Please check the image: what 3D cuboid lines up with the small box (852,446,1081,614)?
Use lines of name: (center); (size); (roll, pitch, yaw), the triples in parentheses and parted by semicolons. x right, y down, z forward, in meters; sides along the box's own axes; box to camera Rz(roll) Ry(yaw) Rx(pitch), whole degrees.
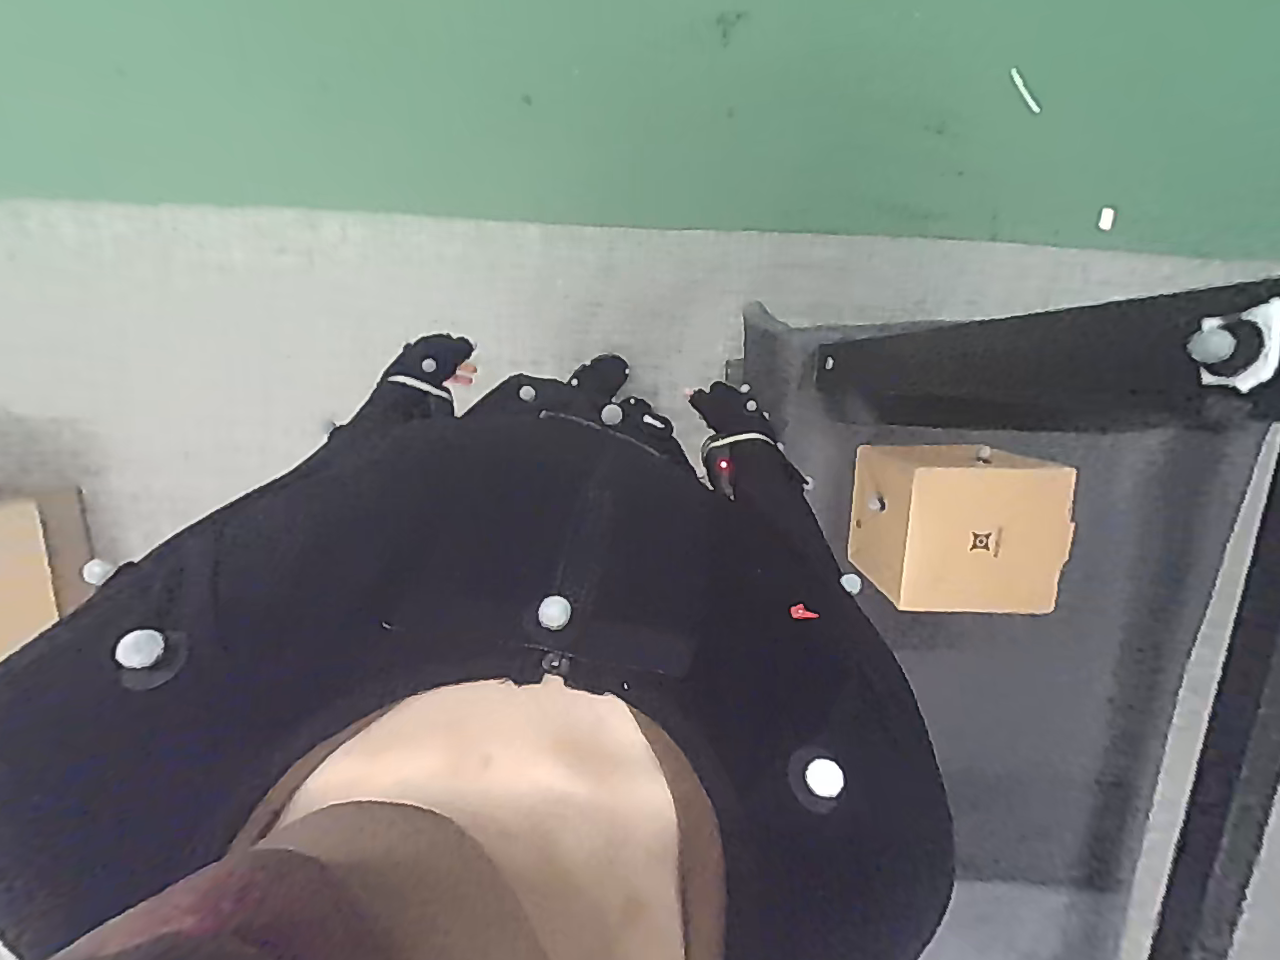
small box: (0.378, 0.052, 0.663); (0.179, 0.176, 0.168); (1, 101, 0)
